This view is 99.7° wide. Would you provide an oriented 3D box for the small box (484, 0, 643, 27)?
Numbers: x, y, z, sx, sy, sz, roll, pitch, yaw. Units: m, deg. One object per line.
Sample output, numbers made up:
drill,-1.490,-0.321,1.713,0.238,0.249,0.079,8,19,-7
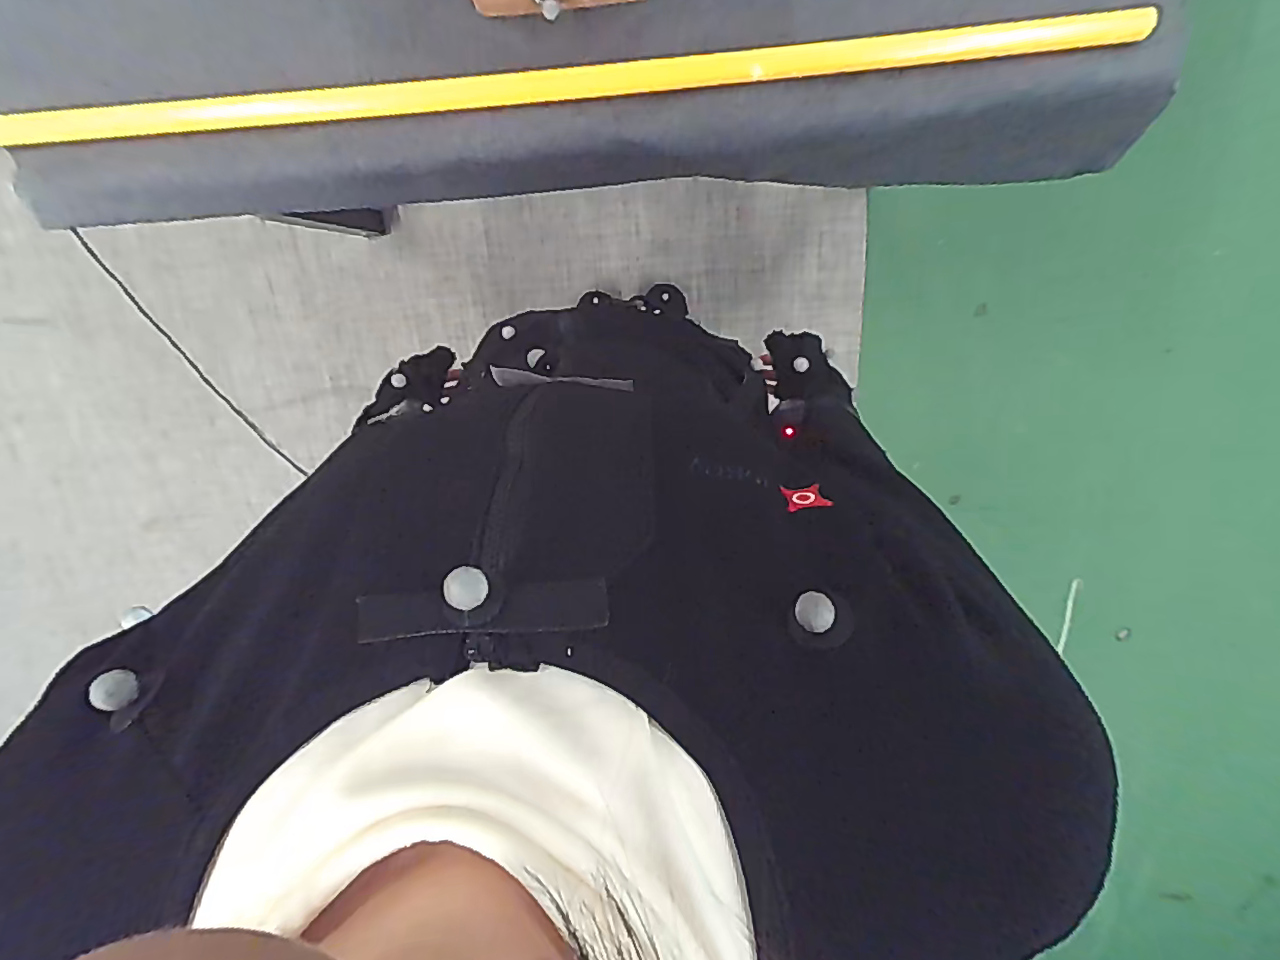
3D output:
small box,-0.082,-0.517,0.437,0.168,0.176,0.179,-5,110,4
